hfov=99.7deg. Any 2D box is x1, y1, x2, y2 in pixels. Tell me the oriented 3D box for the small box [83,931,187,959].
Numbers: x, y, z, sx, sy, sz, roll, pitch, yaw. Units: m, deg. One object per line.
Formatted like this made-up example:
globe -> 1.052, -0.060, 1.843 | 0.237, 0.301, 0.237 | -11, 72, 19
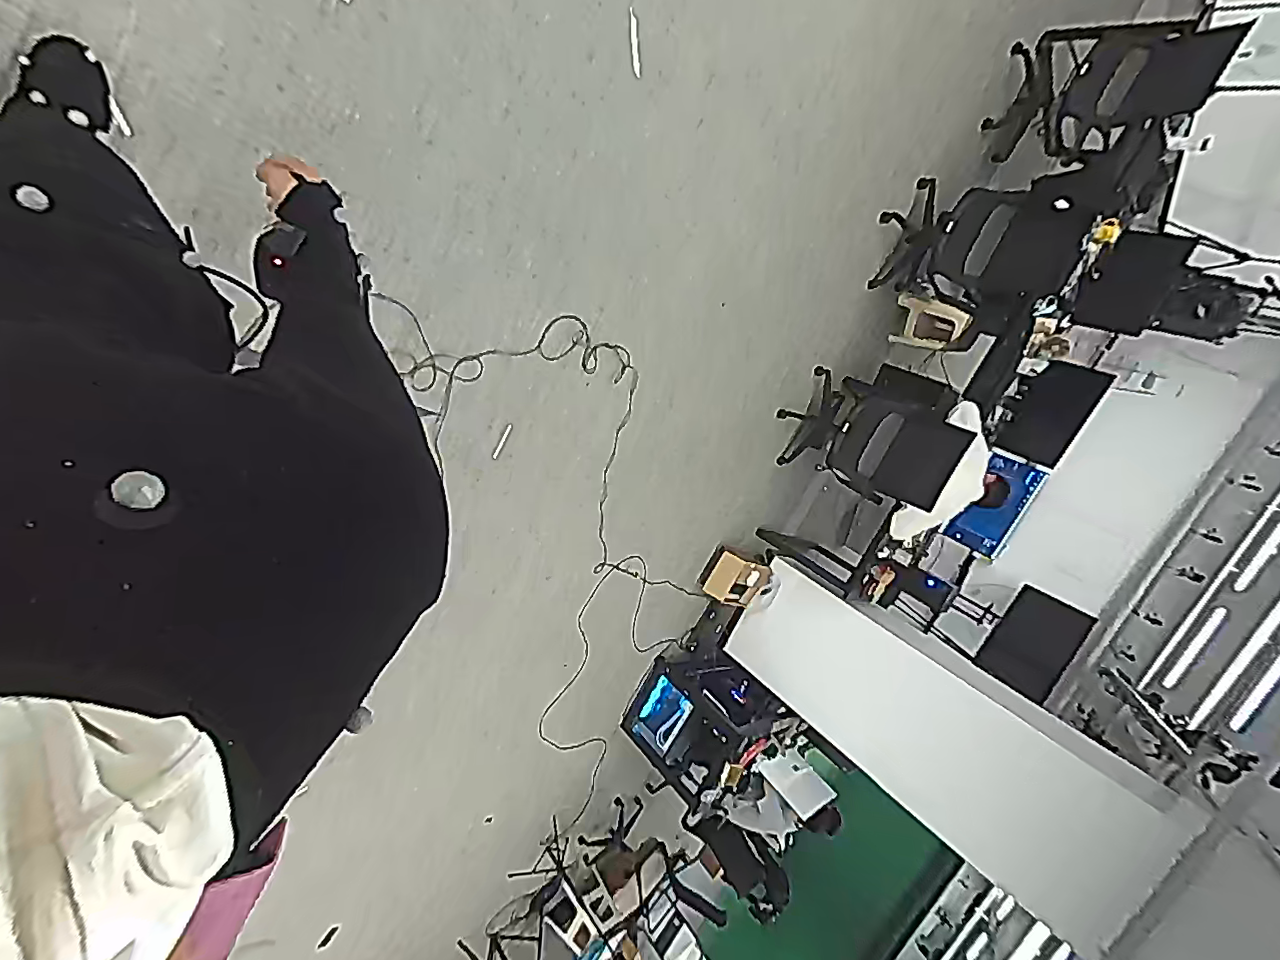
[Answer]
small box -> -0.955, 0.988, 0.983 | 0.179, 0.176, 0.168 | -56, 142, 0
